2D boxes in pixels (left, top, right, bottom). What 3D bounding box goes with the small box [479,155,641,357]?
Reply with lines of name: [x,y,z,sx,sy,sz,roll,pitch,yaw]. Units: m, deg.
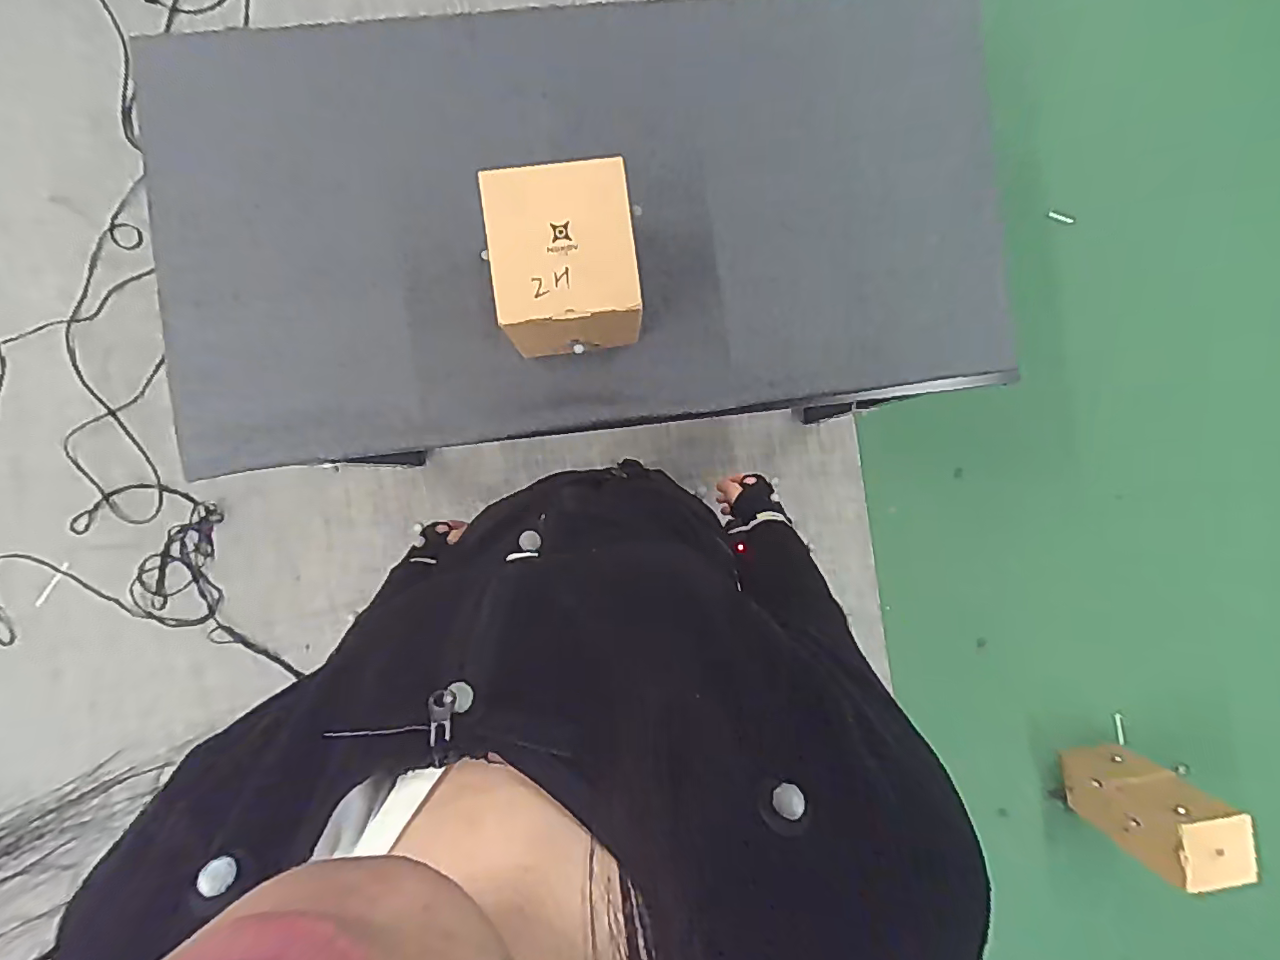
small box: [-0.094,-0.269,0.683,0.168,0.176,0.179,-8,90,-2]

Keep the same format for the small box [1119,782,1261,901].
small box: [1.330,0.868,1.317,0.179,0.176,0.168,-8,91,-3]
